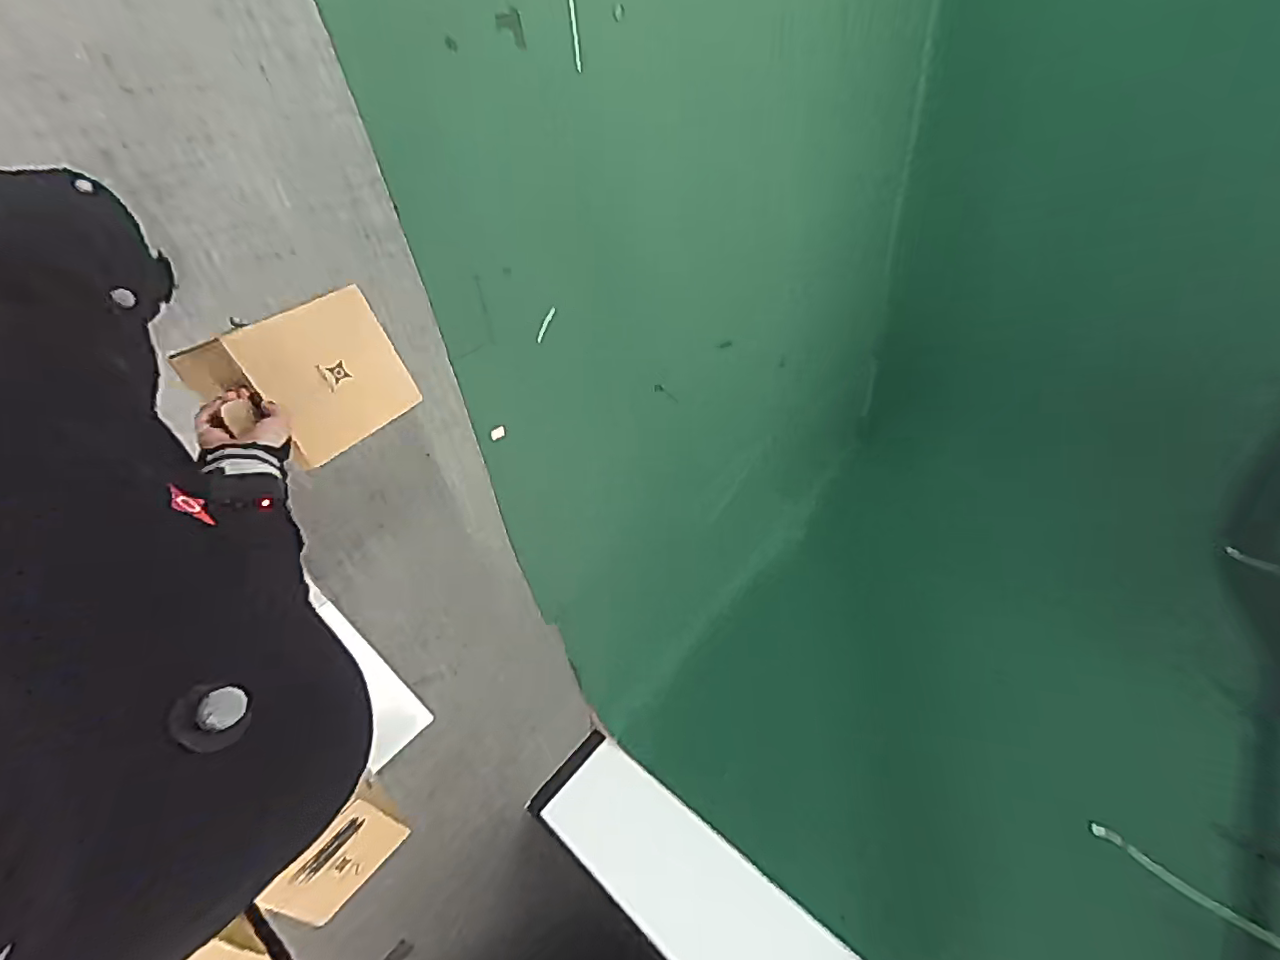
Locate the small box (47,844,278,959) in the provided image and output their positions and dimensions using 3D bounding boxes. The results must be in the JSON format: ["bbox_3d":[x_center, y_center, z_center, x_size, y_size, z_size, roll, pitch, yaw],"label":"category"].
[{"bbox_3d":[-0.665,0.658,0.758,0.168,0.176,0.179,-41,139,-29],"label":"small box"}]

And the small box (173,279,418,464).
[{"bbox_3d":[-0.436,-0.135,0.695,0.179,0.176,0.168,-53,131,-40],"label":"small box"}]
